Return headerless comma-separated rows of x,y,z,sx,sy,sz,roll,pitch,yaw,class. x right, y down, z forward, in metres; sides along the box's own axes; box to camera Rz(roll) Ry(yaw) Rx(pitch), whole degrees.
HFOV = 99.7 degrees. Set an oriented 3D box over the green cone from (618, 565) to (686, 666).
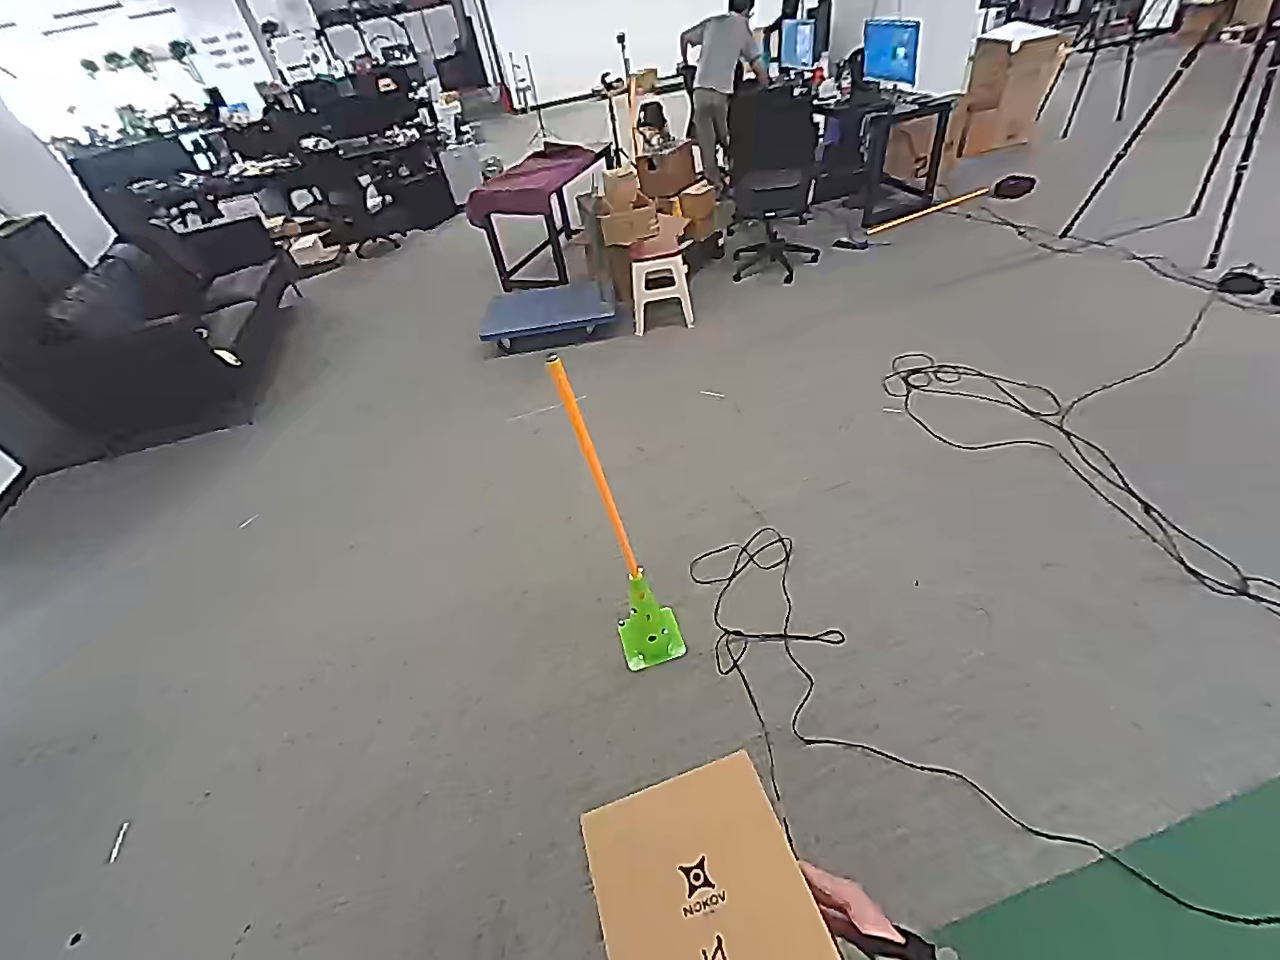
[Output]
0.016,0.400,1.723,0.202,0.368,0.200,-15,43,-6,green cone
